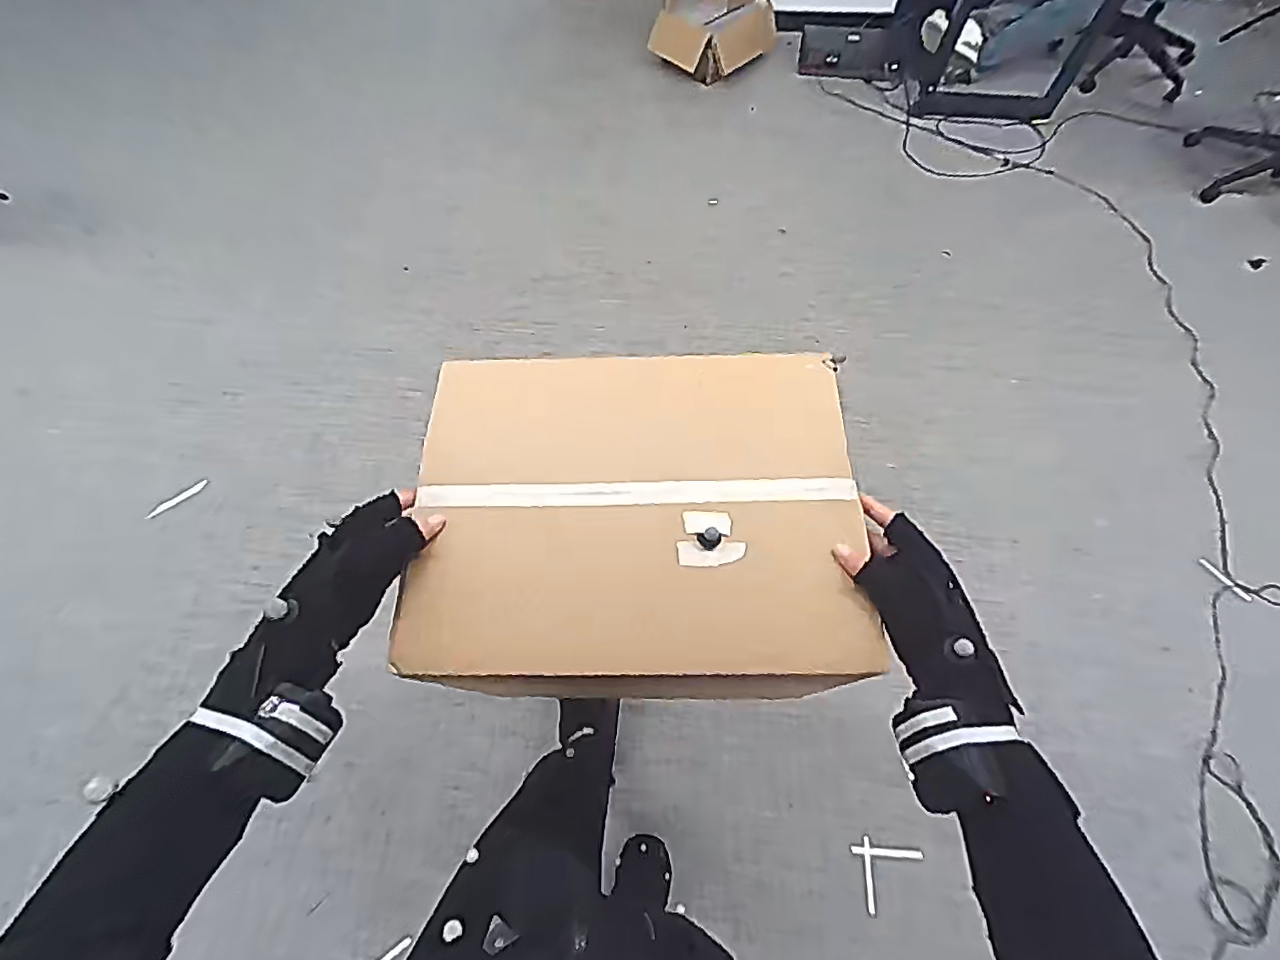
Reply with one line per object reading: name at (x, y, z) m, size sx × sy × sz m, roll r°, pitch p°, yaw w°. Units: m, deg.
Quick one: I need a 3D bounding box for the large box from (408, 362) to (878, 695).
large box at (0.002, 0.079, 0.647) m, size 0.408 × 0.320 × 0.320 m, roll 0°, pitch 65°, yaw 1°
